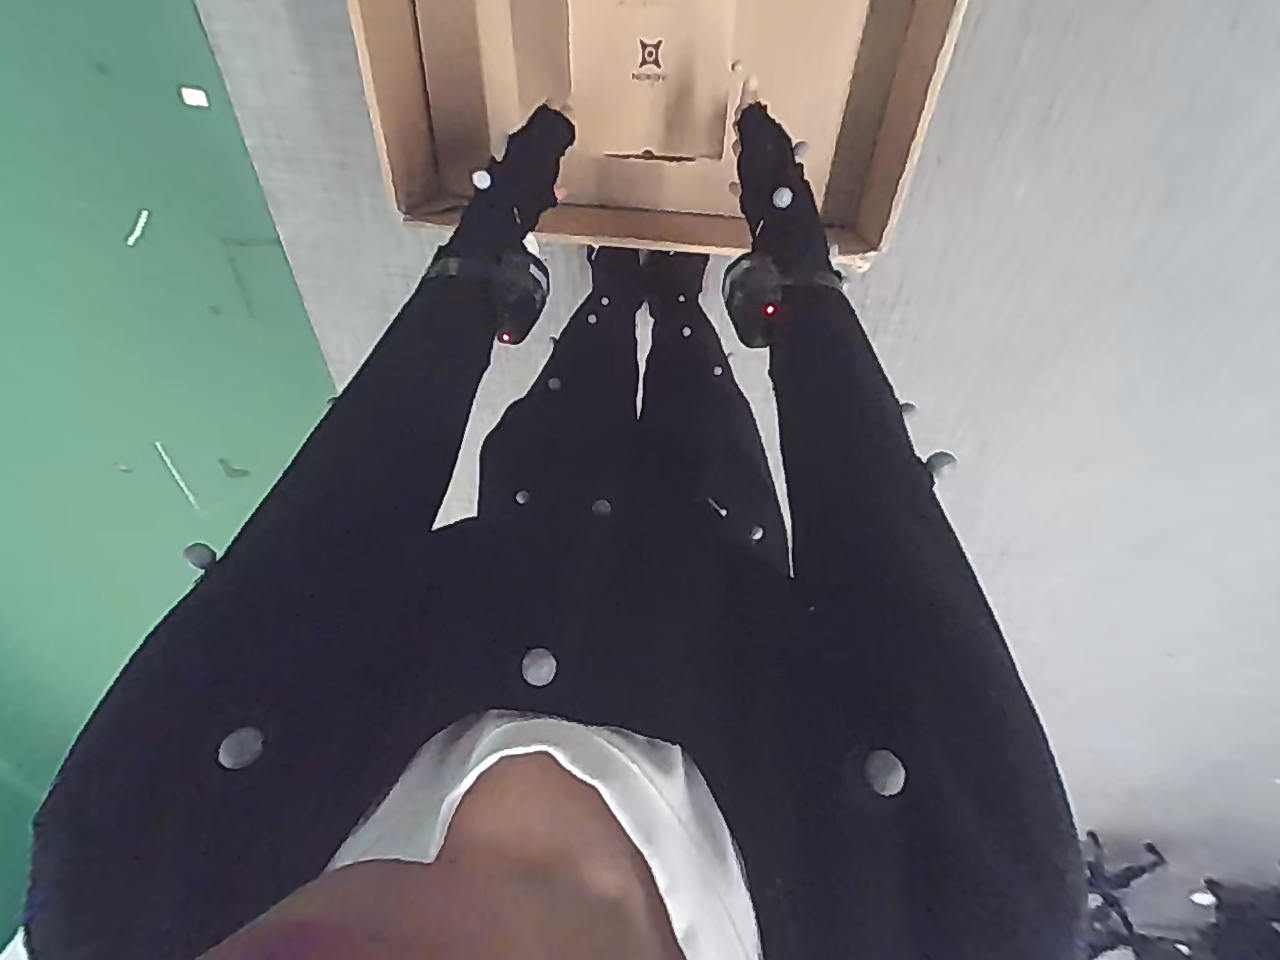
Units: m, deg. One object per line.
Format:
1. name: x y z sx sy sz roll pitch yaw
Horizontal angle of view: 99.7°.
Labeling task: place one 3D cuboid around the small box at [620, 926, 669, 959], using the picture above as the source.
1. small box: 0.017 1.768 1.985 0.179 0.176 0.168 1 128 6

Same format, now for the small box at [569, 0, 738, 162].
1. small box: 0.017 -0.472 0.610 0.168 0.176 0.179 3 127 2
